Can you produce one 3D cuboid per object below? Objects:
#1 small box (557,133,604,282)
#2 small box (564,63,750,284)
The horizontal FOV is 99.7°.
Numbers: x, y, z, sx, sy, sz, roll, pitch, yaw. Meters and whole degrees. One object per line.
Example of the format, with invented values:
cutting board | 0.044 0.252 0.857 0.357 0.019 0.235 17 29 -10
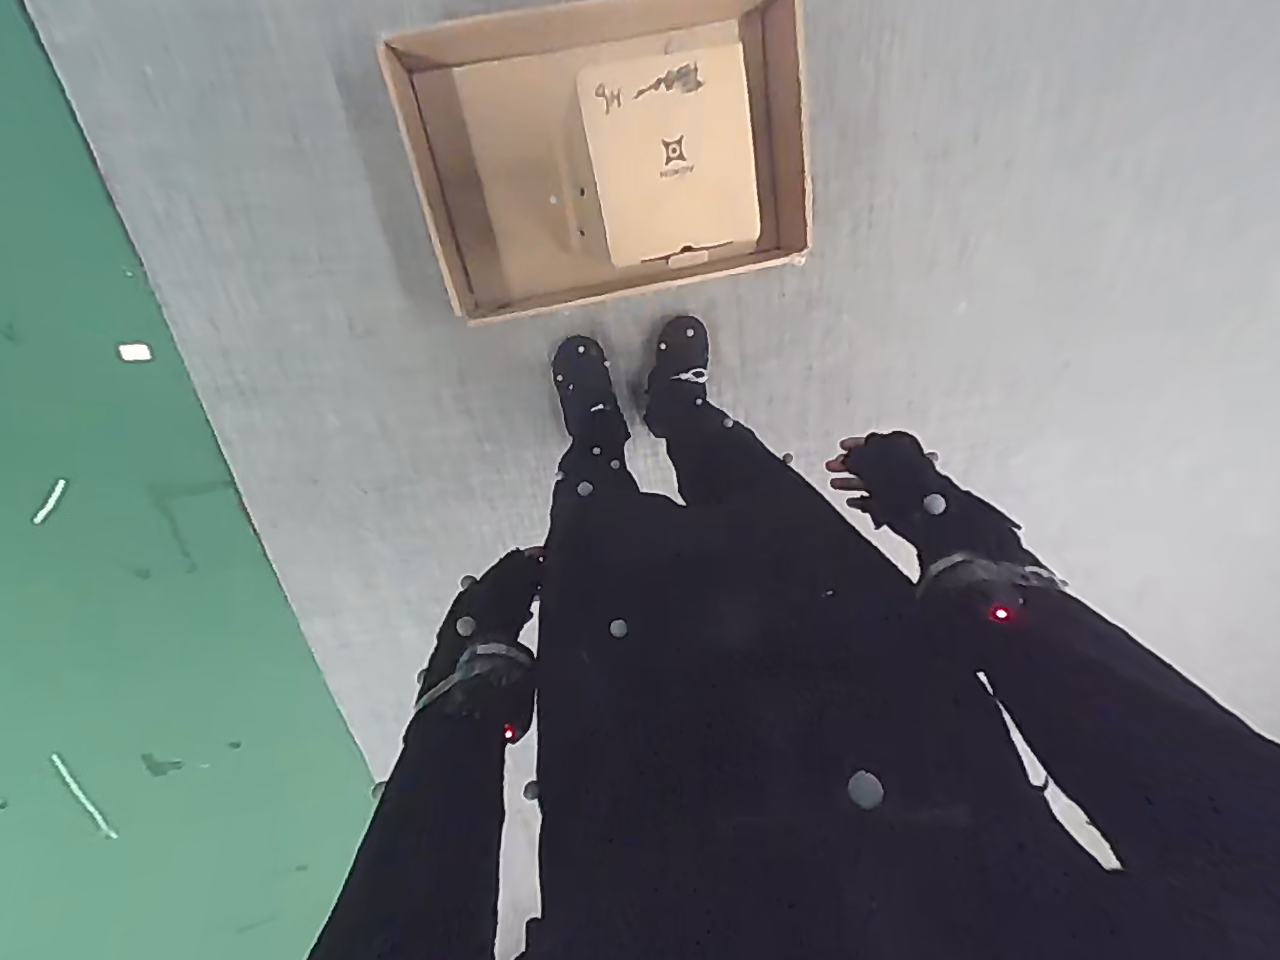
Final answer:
small box | -0.012 -0.392 0.756 0.168 0.176 0.179 -17 115 -3
small box | 0.013 -0.338 0.621 0.168 0.176 0.179 -15 114 -5
